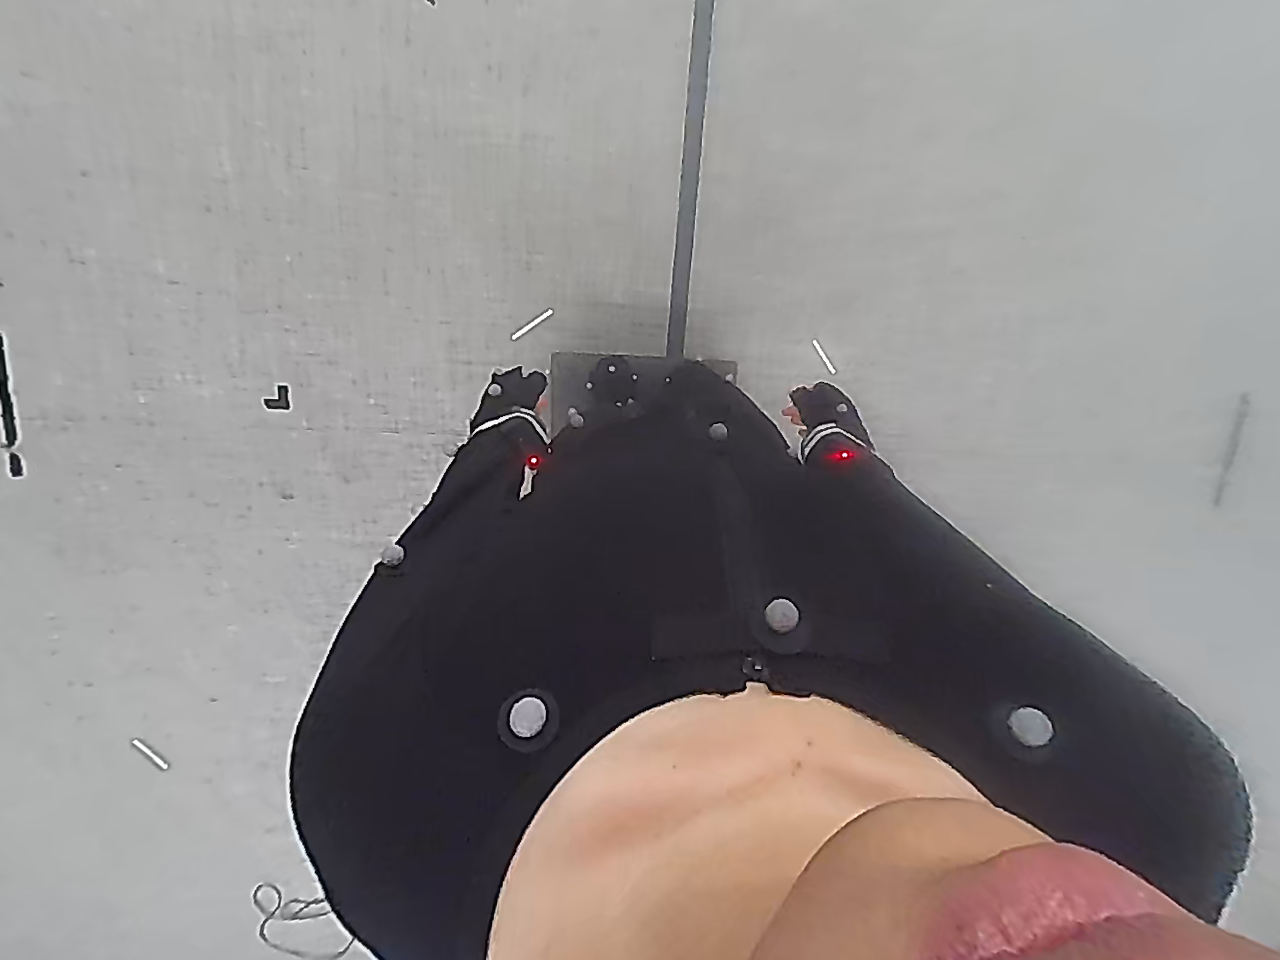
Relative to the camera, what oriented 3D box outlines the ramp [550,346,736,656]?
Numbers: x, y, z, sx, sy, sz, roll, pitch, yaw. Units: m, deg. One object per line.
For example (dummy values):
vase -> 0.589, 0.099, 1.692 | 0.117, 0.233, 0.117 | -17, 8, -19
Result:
ramp -> -0.015, 0.120, 1.591 | 0.509, 0.206, 0.991 | 0, 103, -5
